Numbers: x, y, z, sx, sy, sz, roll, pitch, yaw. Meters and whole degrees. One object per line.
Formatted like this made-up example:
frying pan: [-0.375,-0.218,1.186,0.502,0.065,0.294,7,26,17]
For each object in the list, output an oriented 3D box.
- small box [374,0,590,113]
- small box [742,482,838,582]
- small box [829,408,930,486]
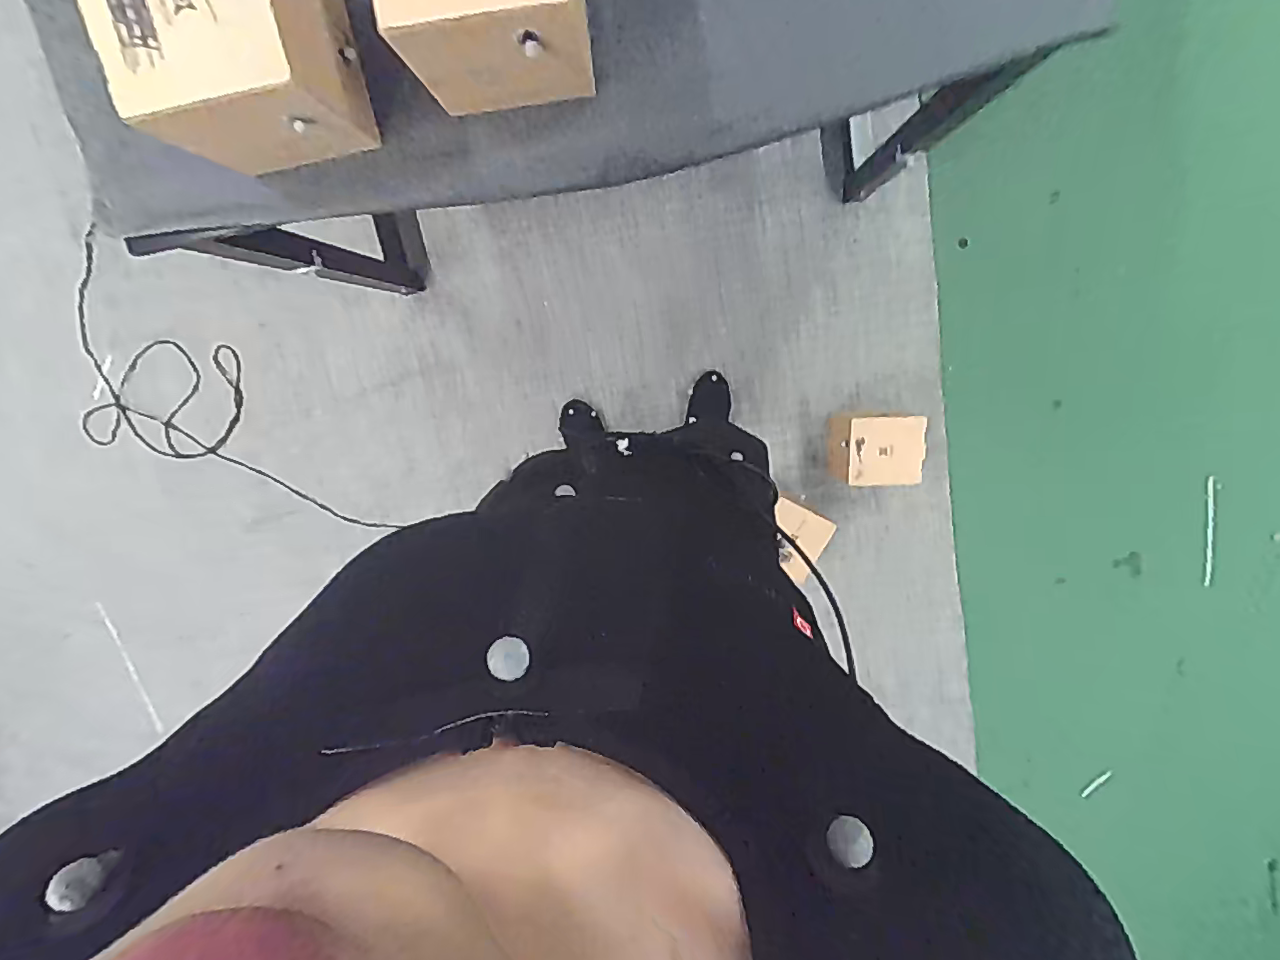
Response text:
small box: [-0.149,-0.499,0.536,0.179,0.176,0.168,-5,101,5]
small box: [0.380,0.130,1.413,0.168,0.176,0.179,27,103,-4]
small box: [0.590,-0.087,1.348,0.179,0.176,0.168,-1,104,3]
